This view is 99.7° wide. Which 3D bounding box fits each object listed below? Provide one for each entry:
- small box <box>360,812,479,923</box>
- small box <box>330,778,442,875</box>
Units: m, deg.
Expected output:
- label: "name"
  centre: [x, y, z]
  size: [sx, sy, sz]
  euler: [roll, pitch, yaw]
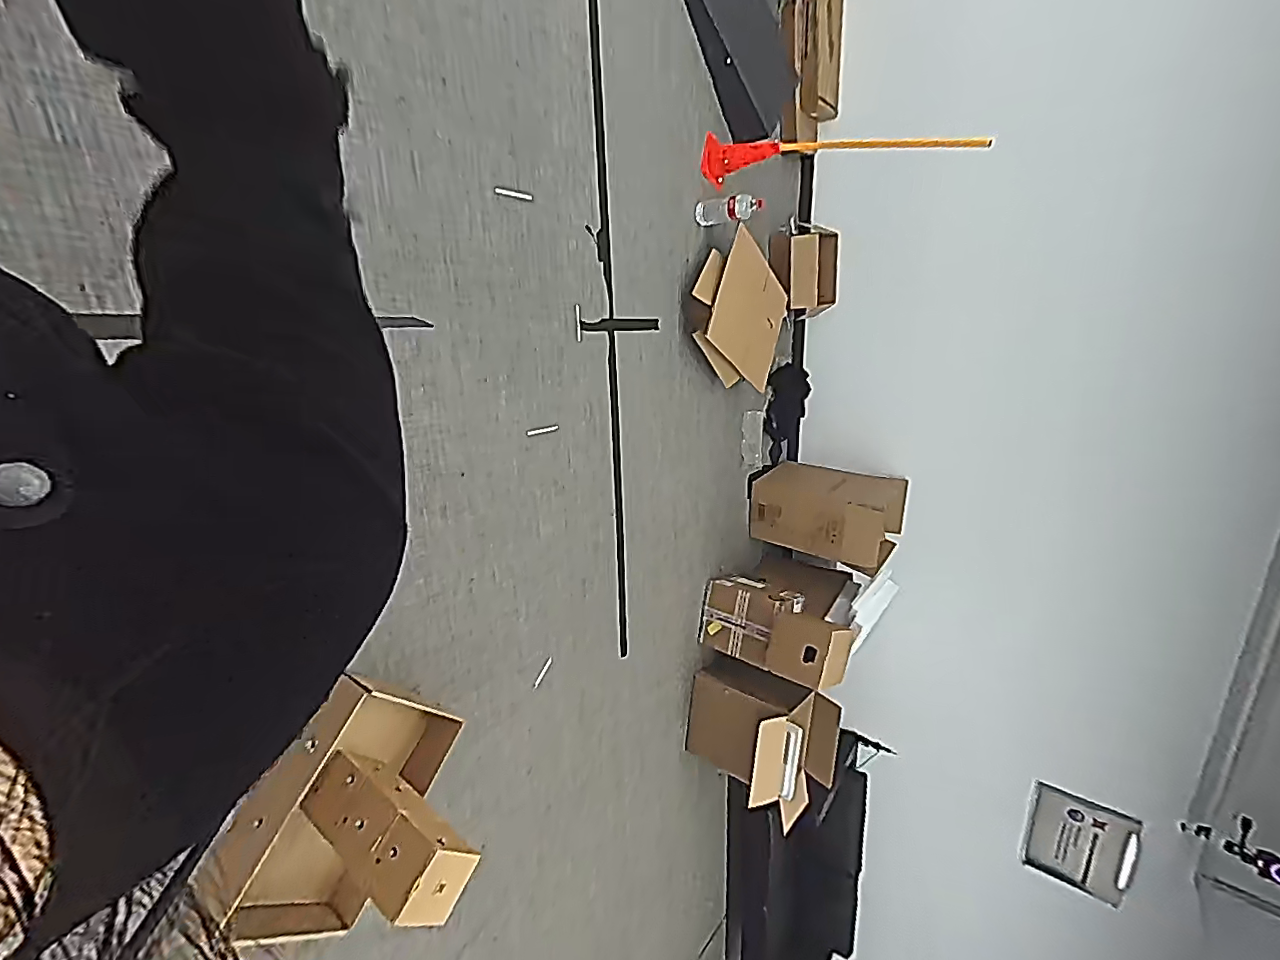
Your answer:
- label: "small box"
  centre: [-0.547, 0.961, 1.348]
  size: [0.168, 0.176, 0.179]
  euler: [-60, 141, -23]
- label: "small box"
  centre: [-0.677, 0.924, 1.440]
  size: [0.168, 0.176, 0.179]
  euler: [-60, 140, -23]
